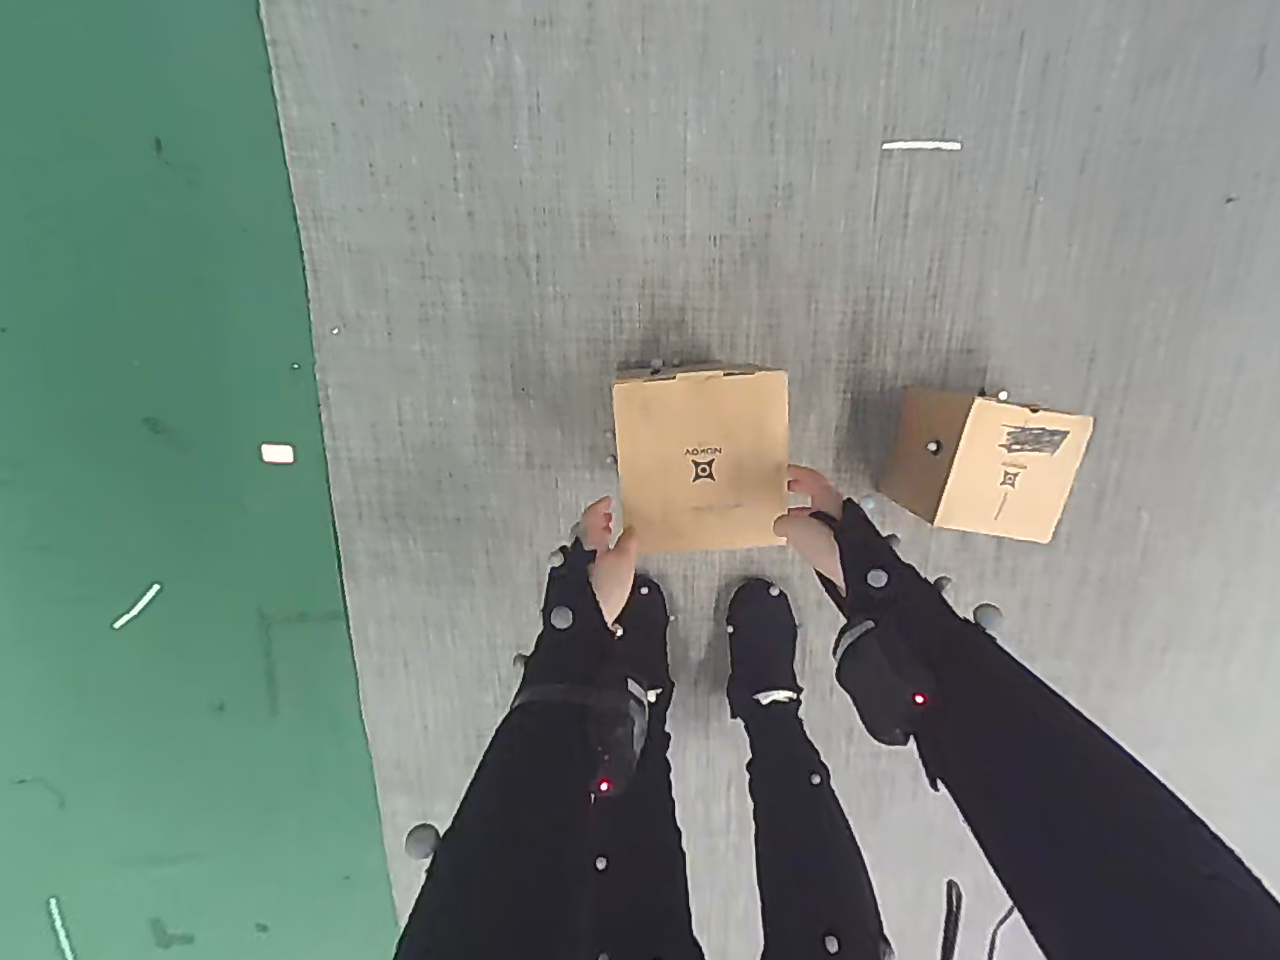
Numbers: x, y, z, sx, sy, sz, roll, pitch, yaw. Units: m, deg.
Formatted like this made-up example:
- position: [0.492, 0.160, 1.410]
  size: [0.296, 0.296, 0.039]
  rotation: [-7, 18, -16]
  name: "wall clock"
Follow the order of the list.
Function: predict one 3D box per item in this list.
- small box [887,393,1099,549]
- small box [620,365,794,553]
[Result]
- position: [0.483, -0.022, 0.772]
  size: [0.168, 0.176, 0.179]
  rotation: [9, 104, -3]
  name: "small box"
- position: [0.064, -0.034, 0.596]
  size: [0.168, 0.176, 0.179]
  rotation: [-4, 104, 1]
  name: "small box"
